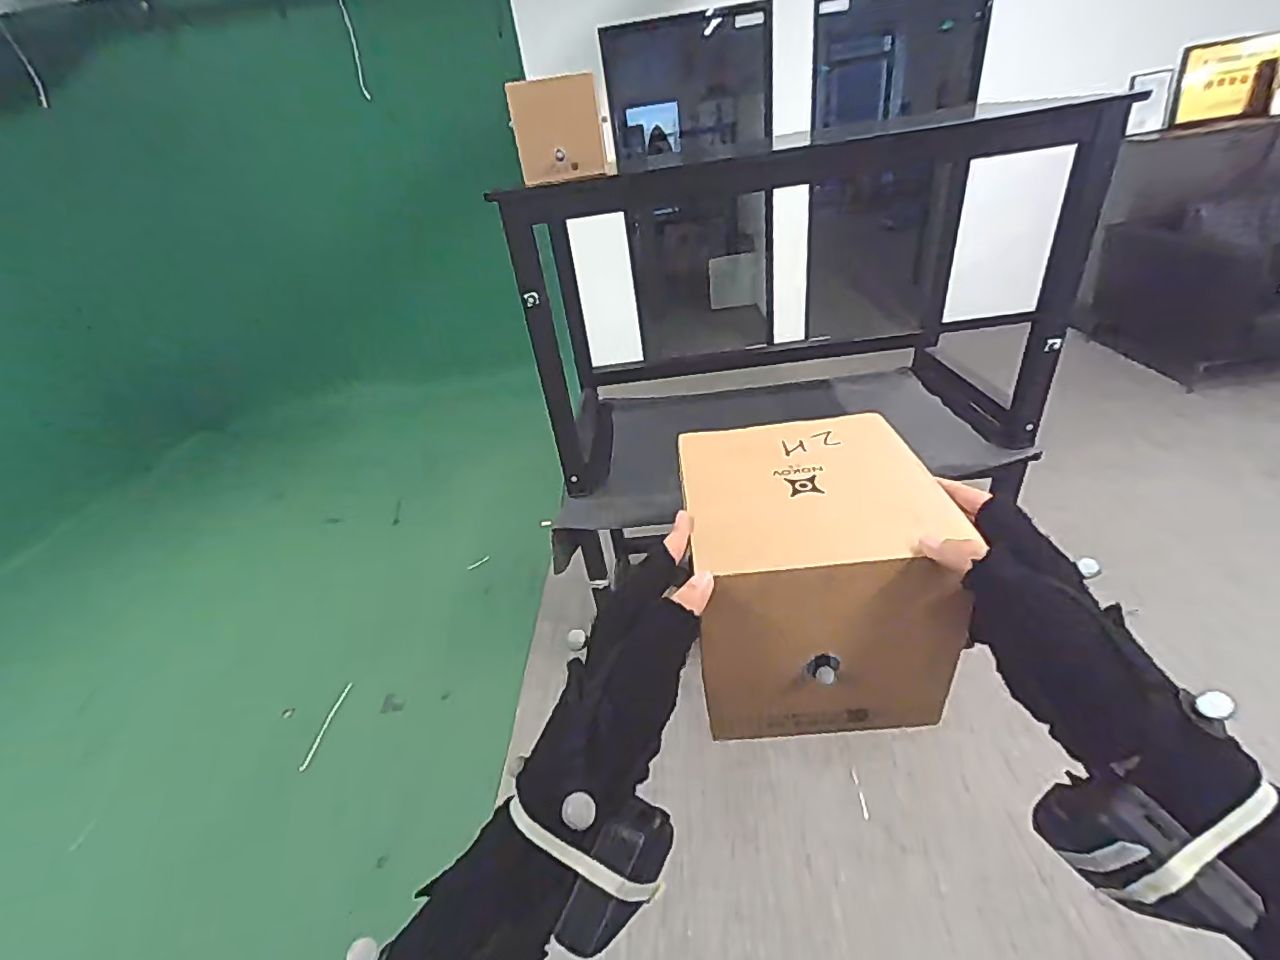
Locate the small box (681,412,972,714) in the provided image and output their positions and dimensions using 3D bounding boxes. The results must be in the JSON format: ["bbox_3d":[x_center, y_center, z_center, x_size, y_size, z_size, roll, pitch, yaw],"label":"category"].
[{"bbox_3d":[0.125,0.066,0.429,0.168,0.176,0.179,-6,32,4],"label":"small box"}]
